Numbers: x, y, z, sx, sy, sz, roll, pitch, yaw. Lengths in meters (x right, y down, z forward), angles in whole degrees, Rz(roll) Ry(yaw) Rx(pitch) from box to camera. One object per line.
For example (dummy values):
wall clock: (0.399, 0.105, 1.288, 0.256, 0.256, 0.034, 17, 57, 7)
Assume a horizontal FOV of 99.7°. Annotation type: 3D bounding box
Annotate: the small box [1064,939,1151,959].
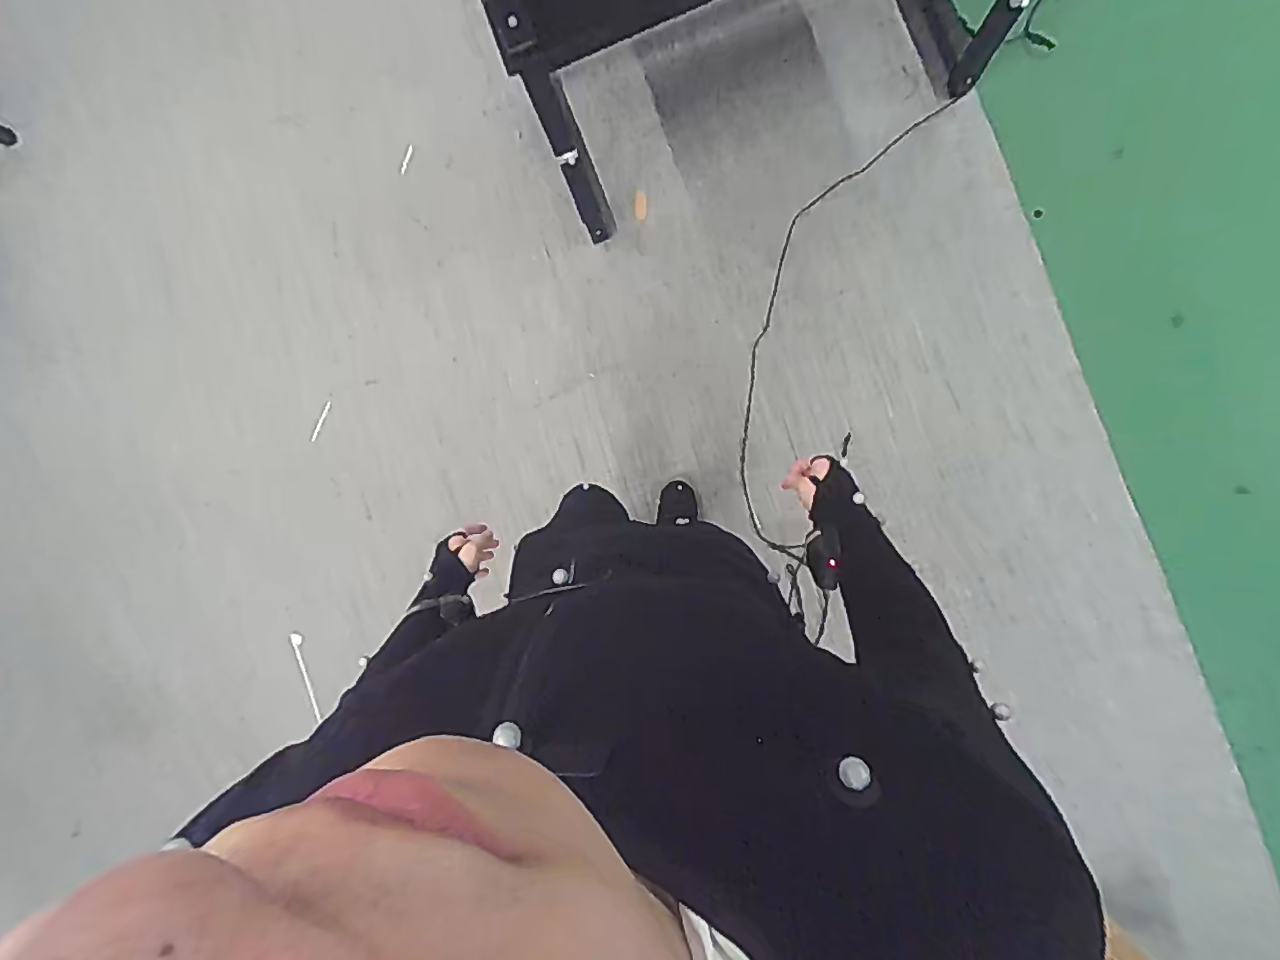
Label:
small box: (1.133, 1.215, 1.254, 0.168, 0.176, 0.179, -13, 88, 7)
